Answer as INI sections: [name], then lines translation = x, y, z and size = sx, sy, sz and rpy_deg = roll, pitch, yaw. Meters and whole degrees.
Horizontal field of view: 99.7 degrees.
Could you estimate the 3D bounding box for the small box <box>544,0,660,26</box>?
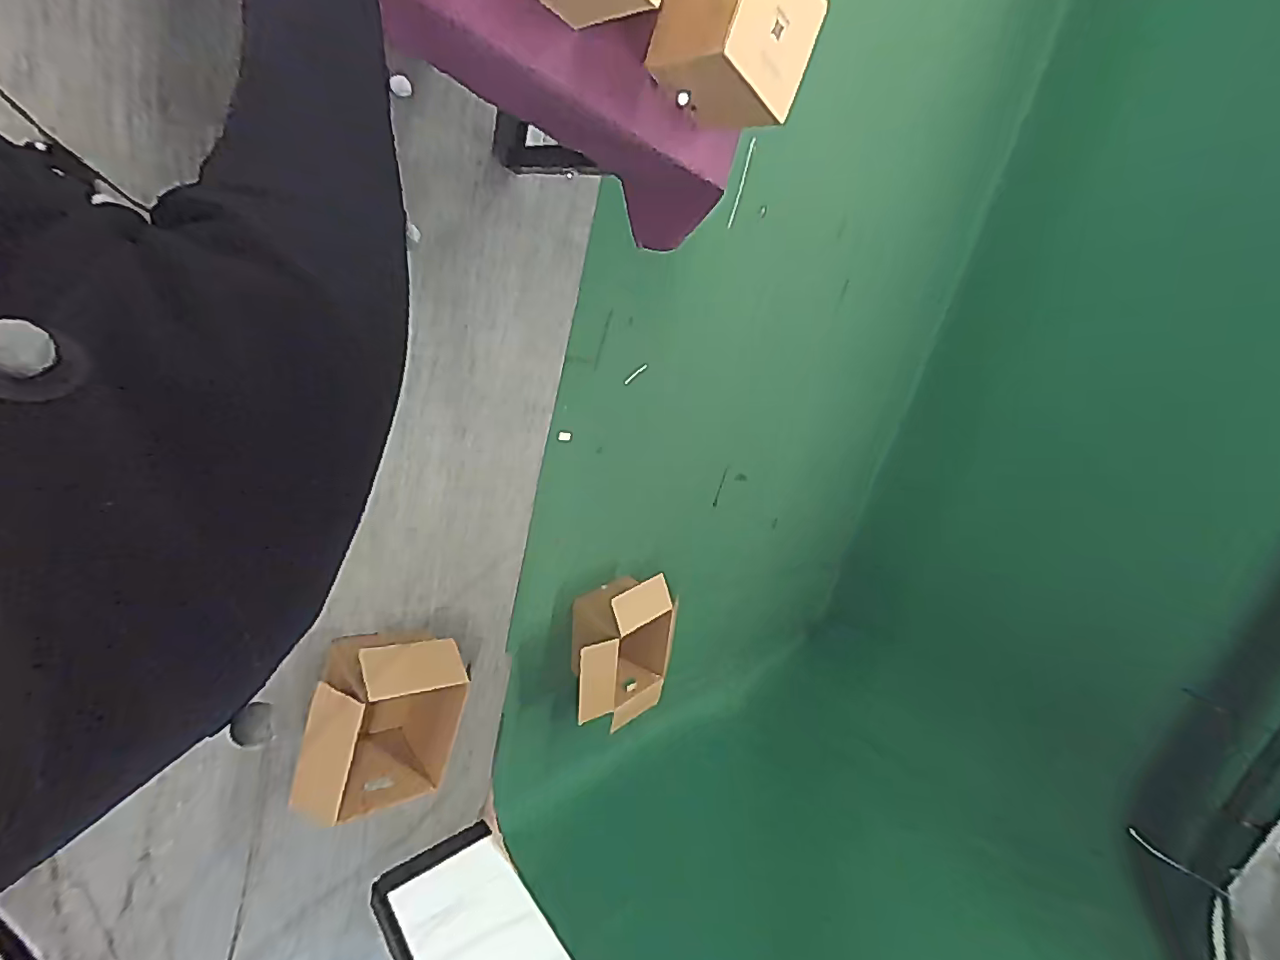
[small box]
translation = -0.062, -0.653, 0.598
size = 0.168, 0.176, 0.179
rpy_deg = 4, 111, -47
